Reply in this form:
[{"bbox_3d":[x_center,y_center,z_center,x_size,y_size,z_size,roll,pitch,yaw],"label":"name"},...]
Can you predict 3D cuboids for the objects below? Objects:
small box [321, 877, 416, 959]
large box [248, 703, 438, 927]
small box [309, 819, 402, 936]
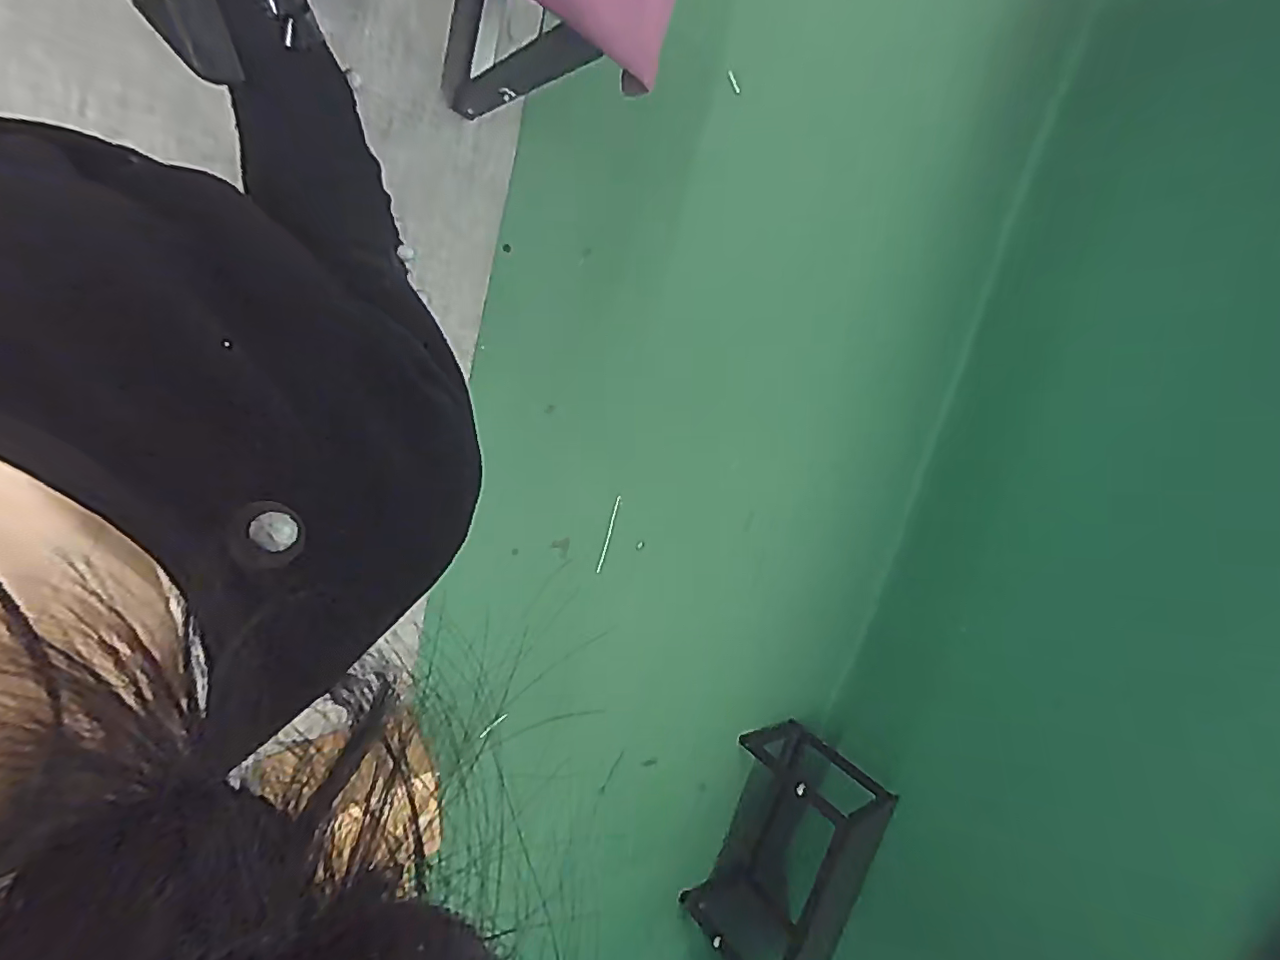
[{"bbox_3d":[-0.626,1.064,1.243,0.168,0.176,0.179,-5,110,-39],"label":"small box"},{"bbox_3d":[-0.847,0.930,1.561,0.408,0.320,0.320,-12,116,-38],"label":"large box"},{"bbox_3d":[-0.718,1.010,1.367,0.179,0.176,0.168,-7,111,-38],"label":"small box"}]
